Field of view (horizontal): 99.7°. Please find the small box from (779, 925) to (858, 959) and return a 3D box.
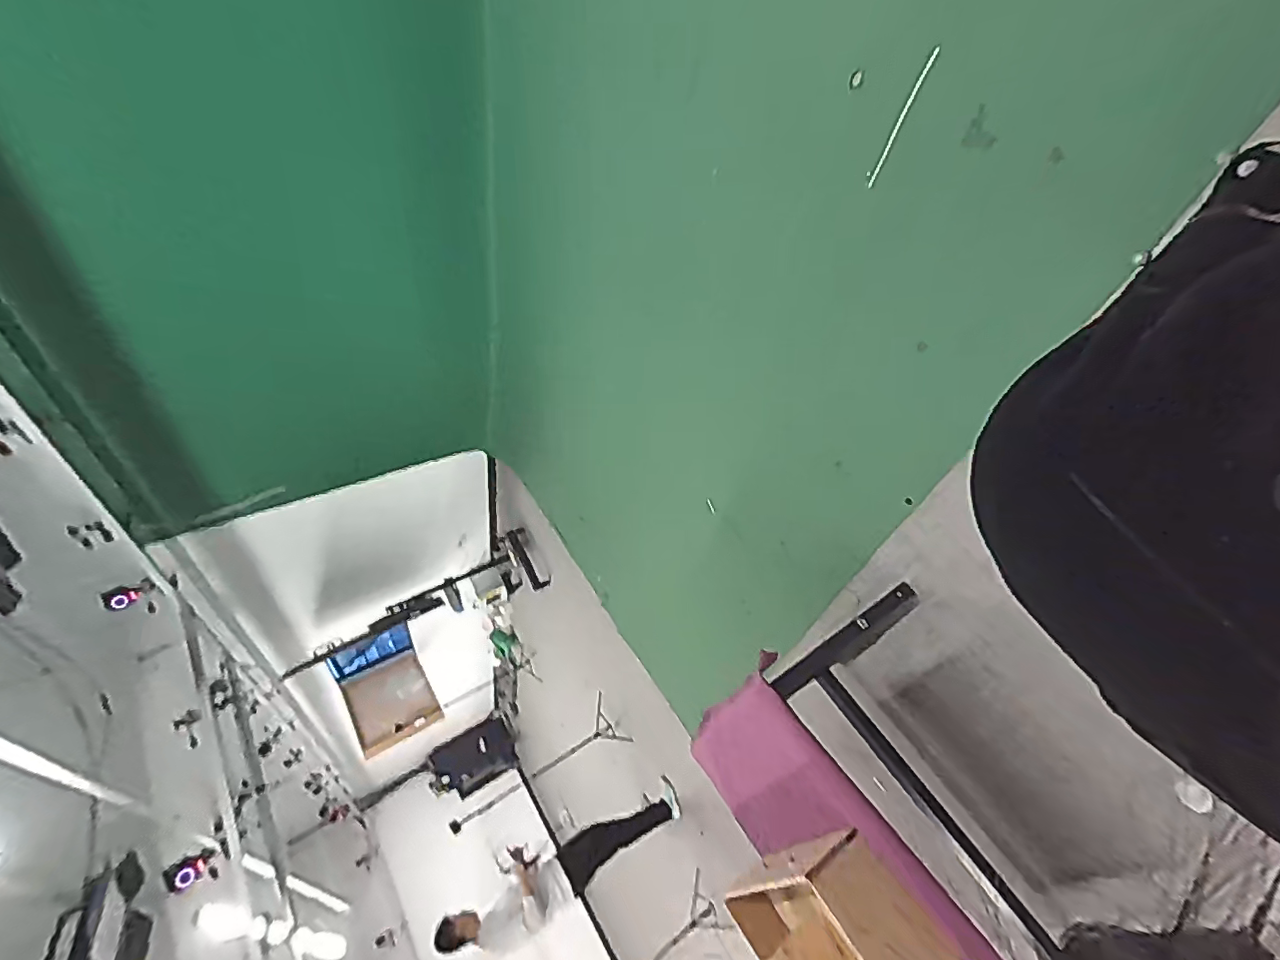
[{"bbox_3d":[0.474,1.302,1.406,0.168,0.176,0.179,53,145,27],"label":"small box"}]
